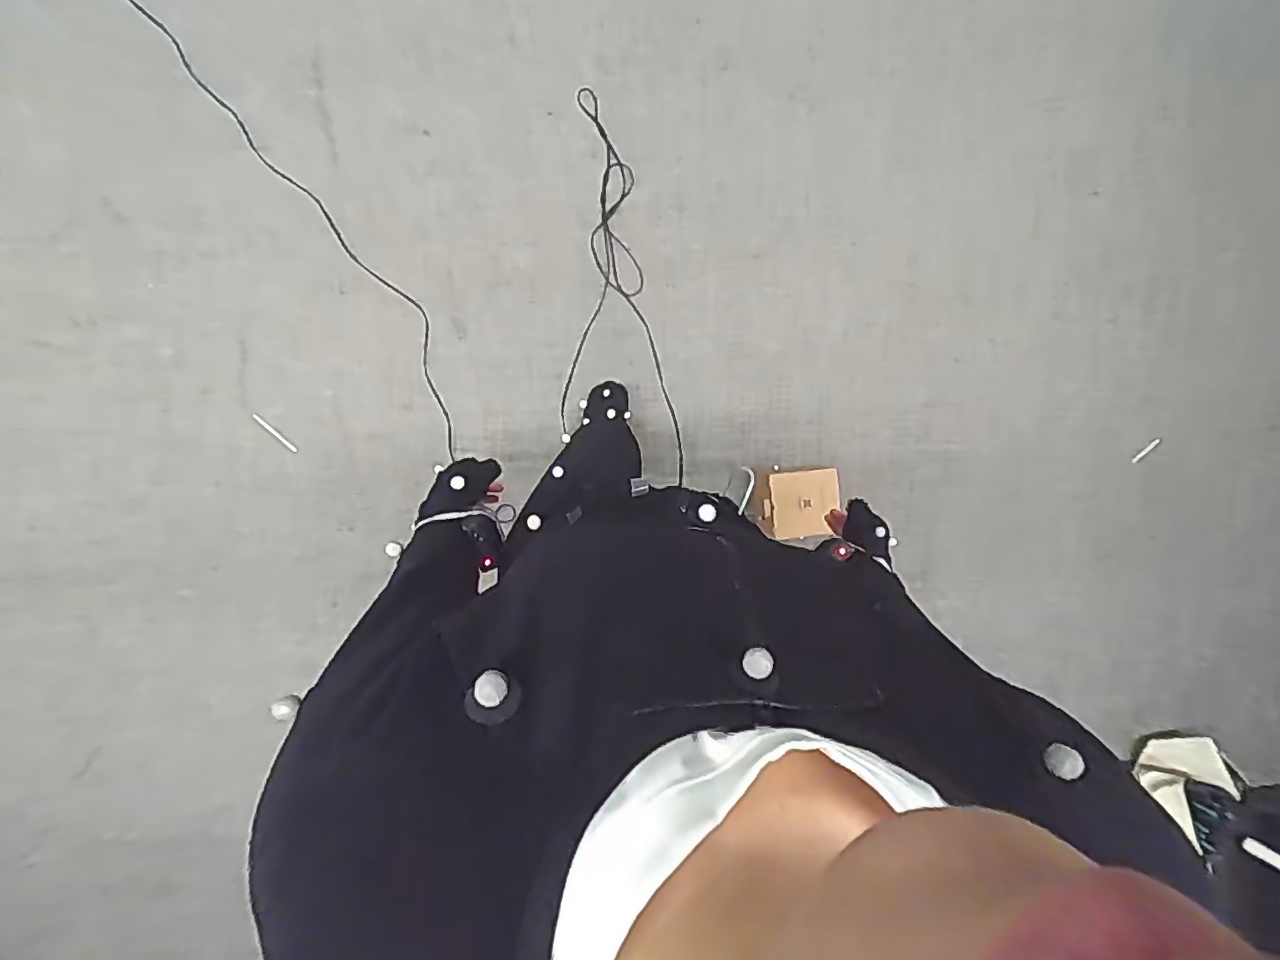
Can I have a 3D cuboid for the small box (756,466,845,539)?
[{"bbox_3d":[0.408,0.054,1.402,0.179,0.176,0.168,-7,94,-3],"label":"small box"}]
